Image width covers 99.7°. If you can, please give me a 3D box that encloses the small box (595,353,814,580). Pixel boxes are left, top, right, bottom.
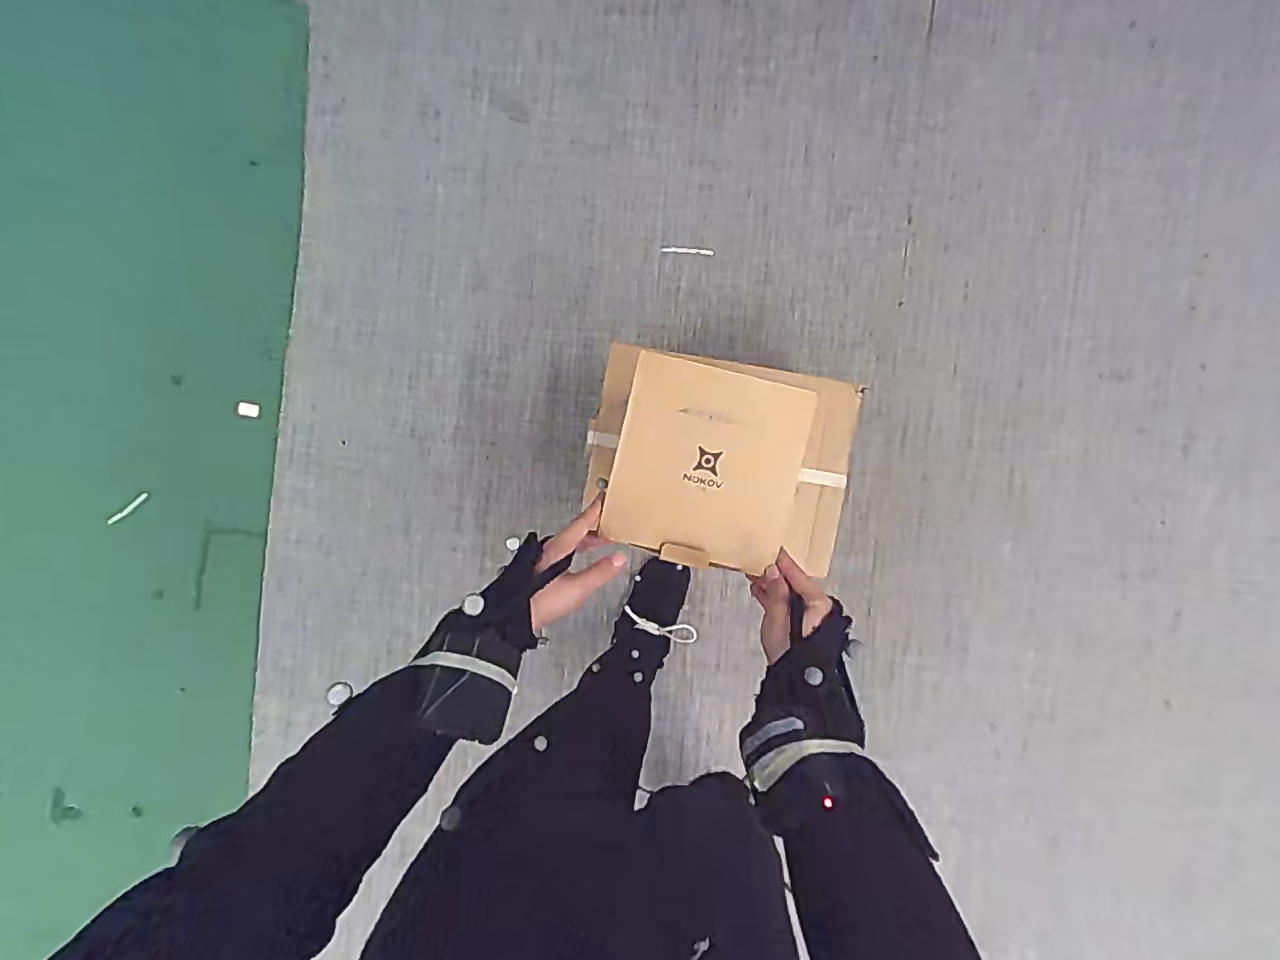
[{"bbox_3d":[0.058,-0.014,0.563,0.168,0.176,0.179,13,91,-1],"label":"small box"}]

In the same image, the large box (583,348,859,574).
[{"bbox_3d":[0.131,-0.033,1.005,0.408,0.320,0.320,10,92,2],"label":"large box"}]
